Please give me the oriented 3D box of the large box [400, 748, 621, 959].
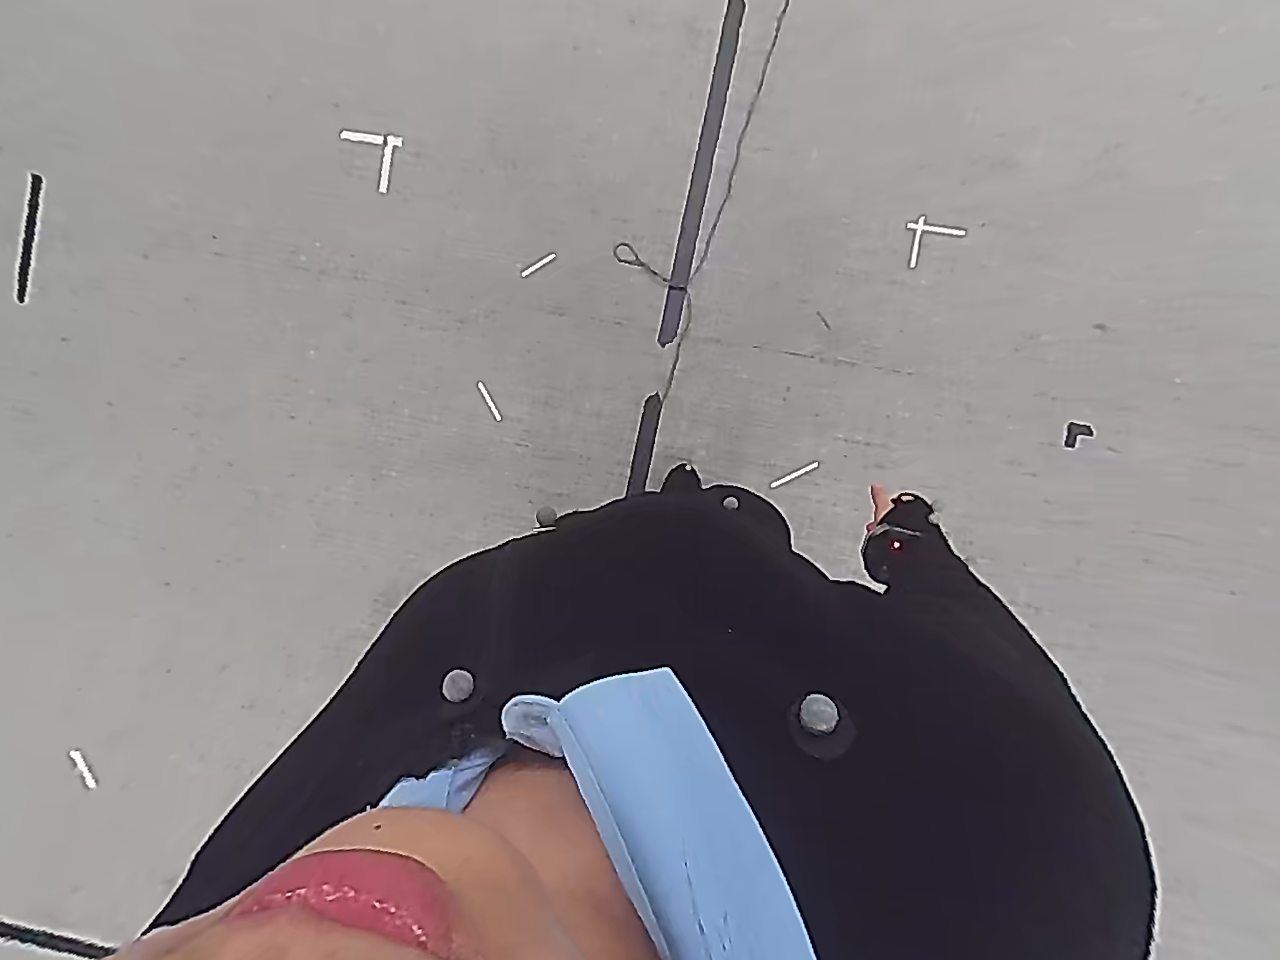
[{"bbox_3d":[-0.253,0.817,1.182,0.408,0.320,0.320,2,90,3],"label":"large box"}]
